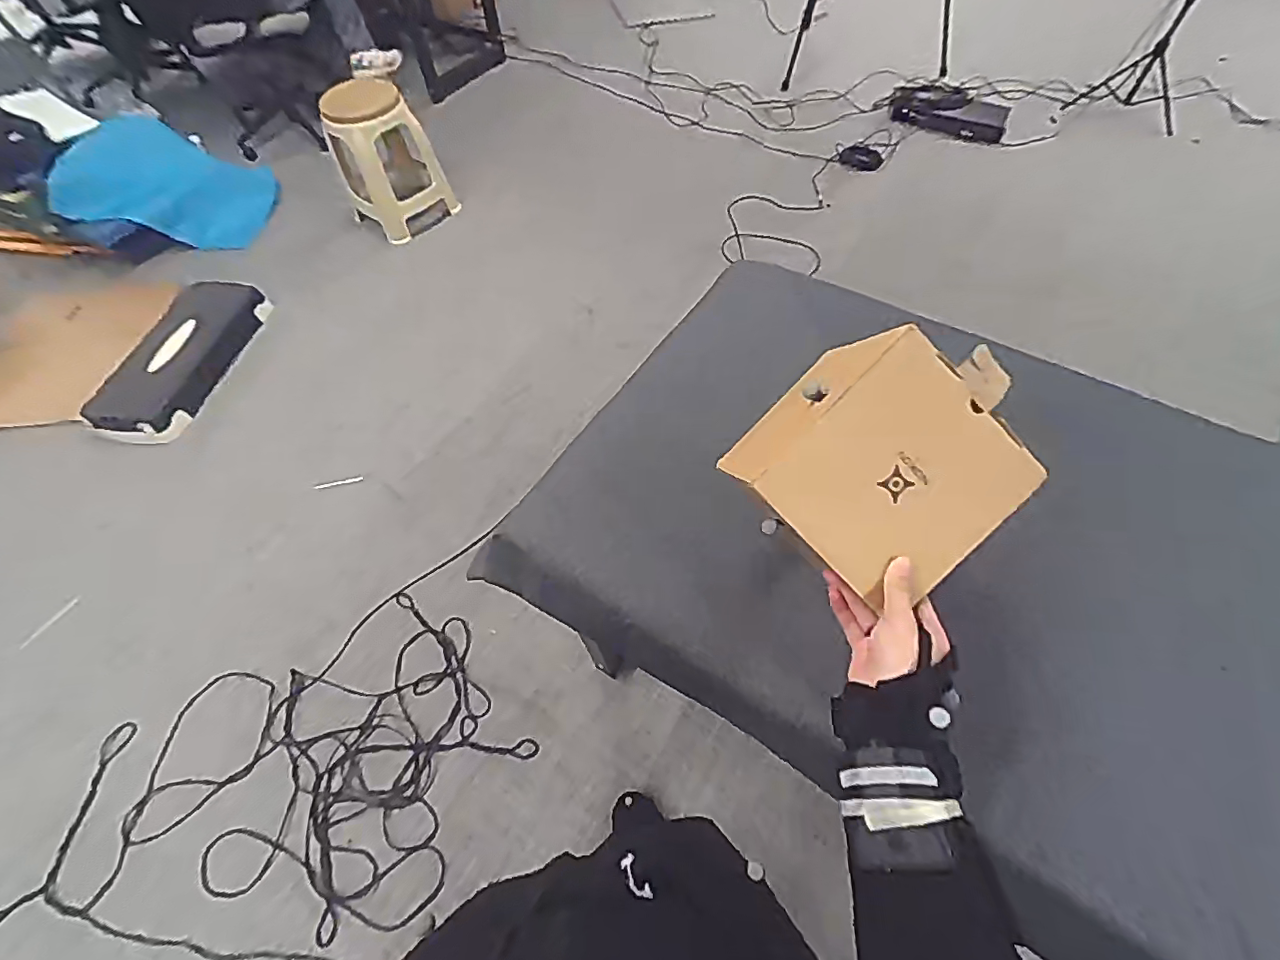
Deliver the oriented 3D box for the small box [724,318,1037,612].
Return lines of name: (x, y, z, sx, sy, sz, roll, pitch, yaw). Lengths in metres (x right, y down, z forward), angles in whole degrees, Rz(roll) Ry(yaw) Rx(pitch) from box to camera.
small box: (0.196, -0.014, 0.504, 0.168, 0.176, 0.179, 44, 91, -4)
